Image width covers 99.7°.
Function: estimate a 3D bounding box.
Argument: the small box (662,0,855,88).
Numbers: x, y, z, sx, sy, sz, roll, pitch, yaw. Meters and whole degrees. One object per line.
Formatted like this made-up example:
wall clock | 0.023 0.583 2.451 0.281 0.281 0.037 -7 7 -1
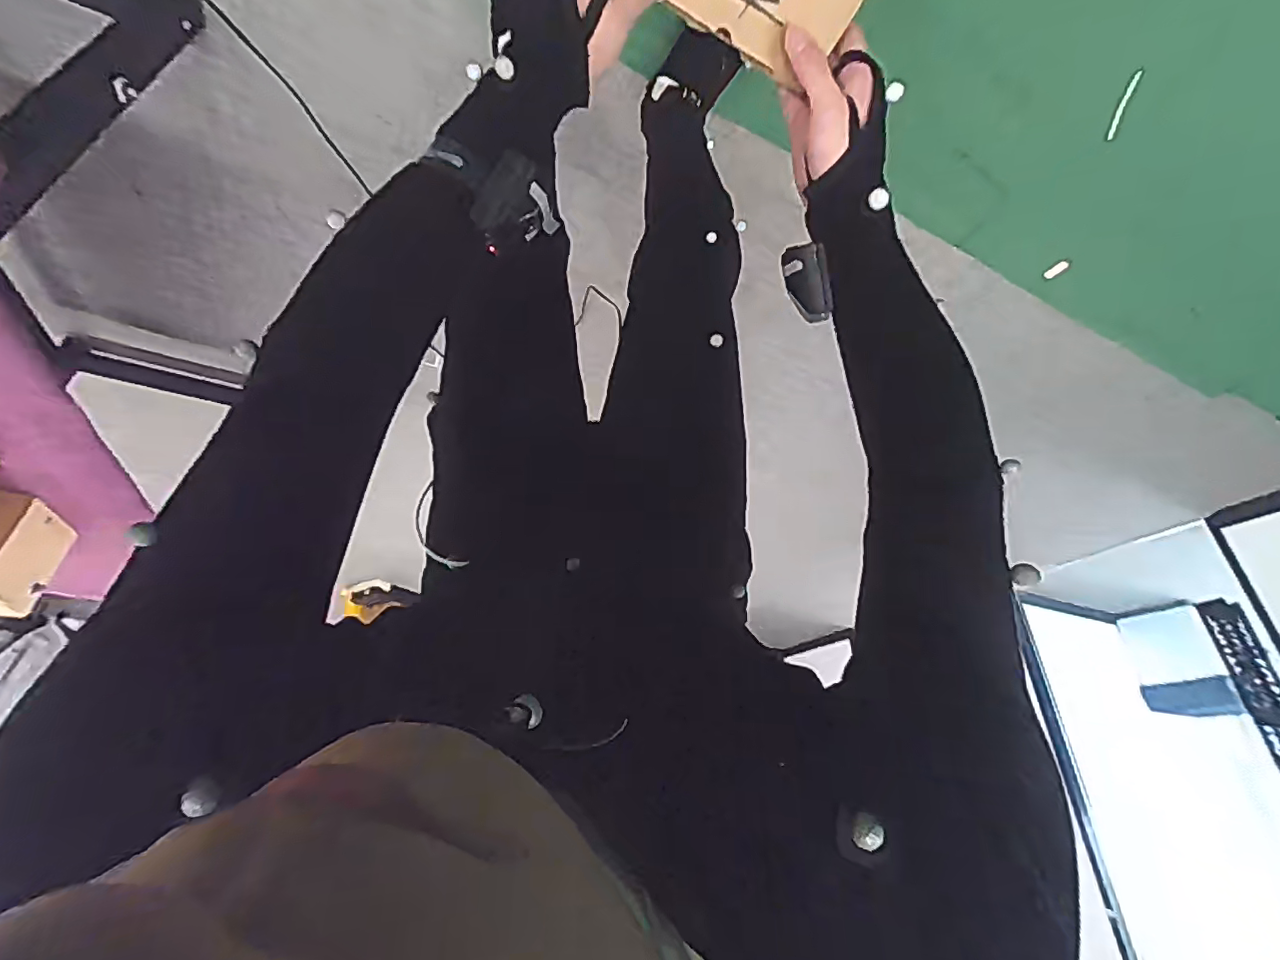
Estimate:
small box | 0.092 -0.450 0.395 0.168 0.176 0.179 13 142 -25
